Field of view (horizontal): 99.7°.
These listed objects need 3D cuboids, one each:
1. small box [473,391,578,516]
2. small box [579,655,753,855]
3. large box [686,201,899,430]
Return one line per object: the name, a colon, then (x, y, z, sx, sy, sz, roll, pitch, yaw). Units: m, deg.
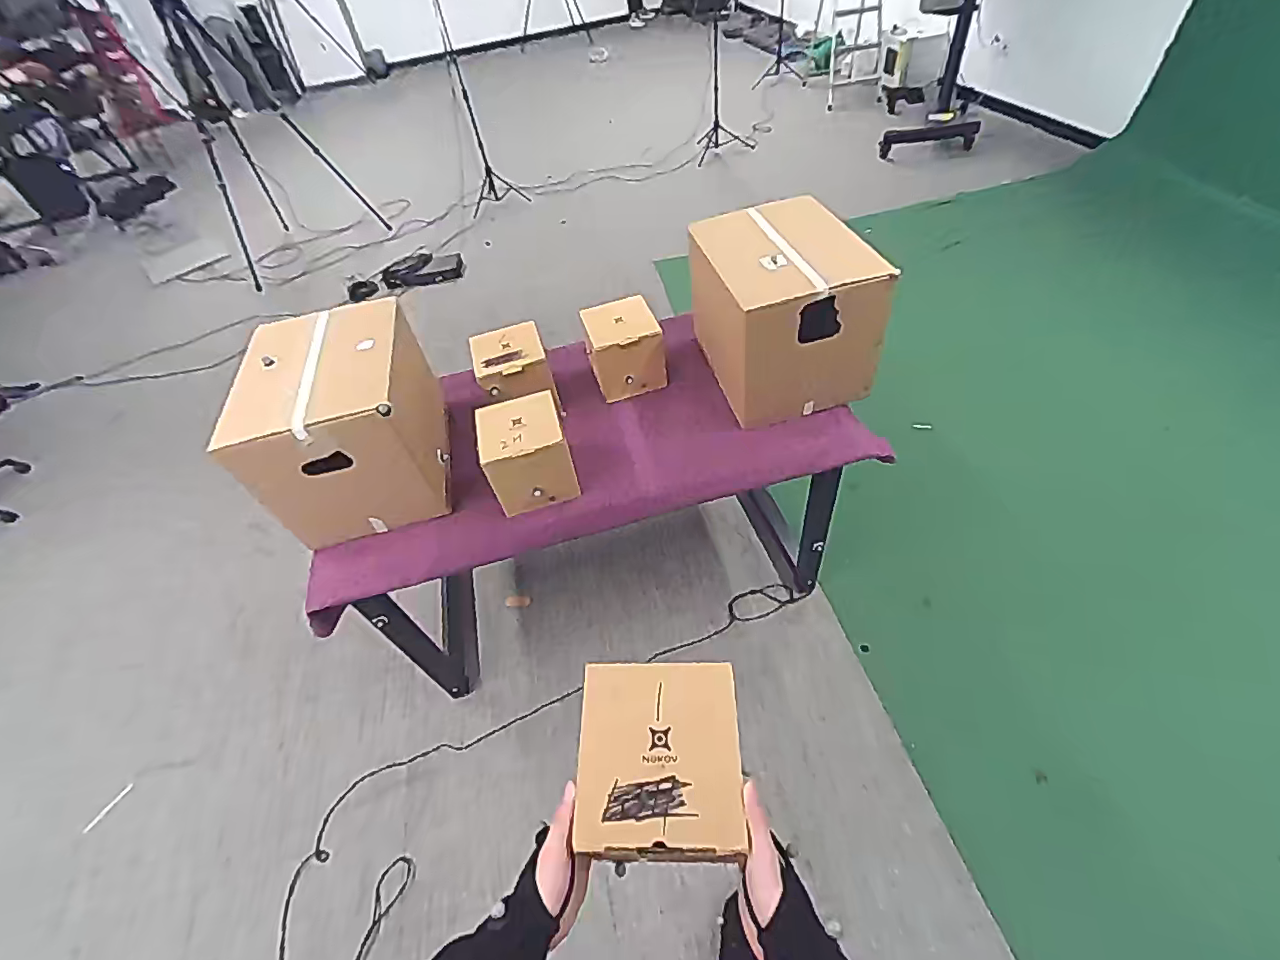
small box: (-0.239, -0.055, 1.139, 0.168, 0.176, 0.179, -17, 48, -5)
small box: (0.030, 0.313, 0.608, 0.168, 0.176, 0.179, -2, 51, 3)
large box: (0.316, -0.385, 1.254, 0.320, 0.320, 0.408, -15, 49, -3)
